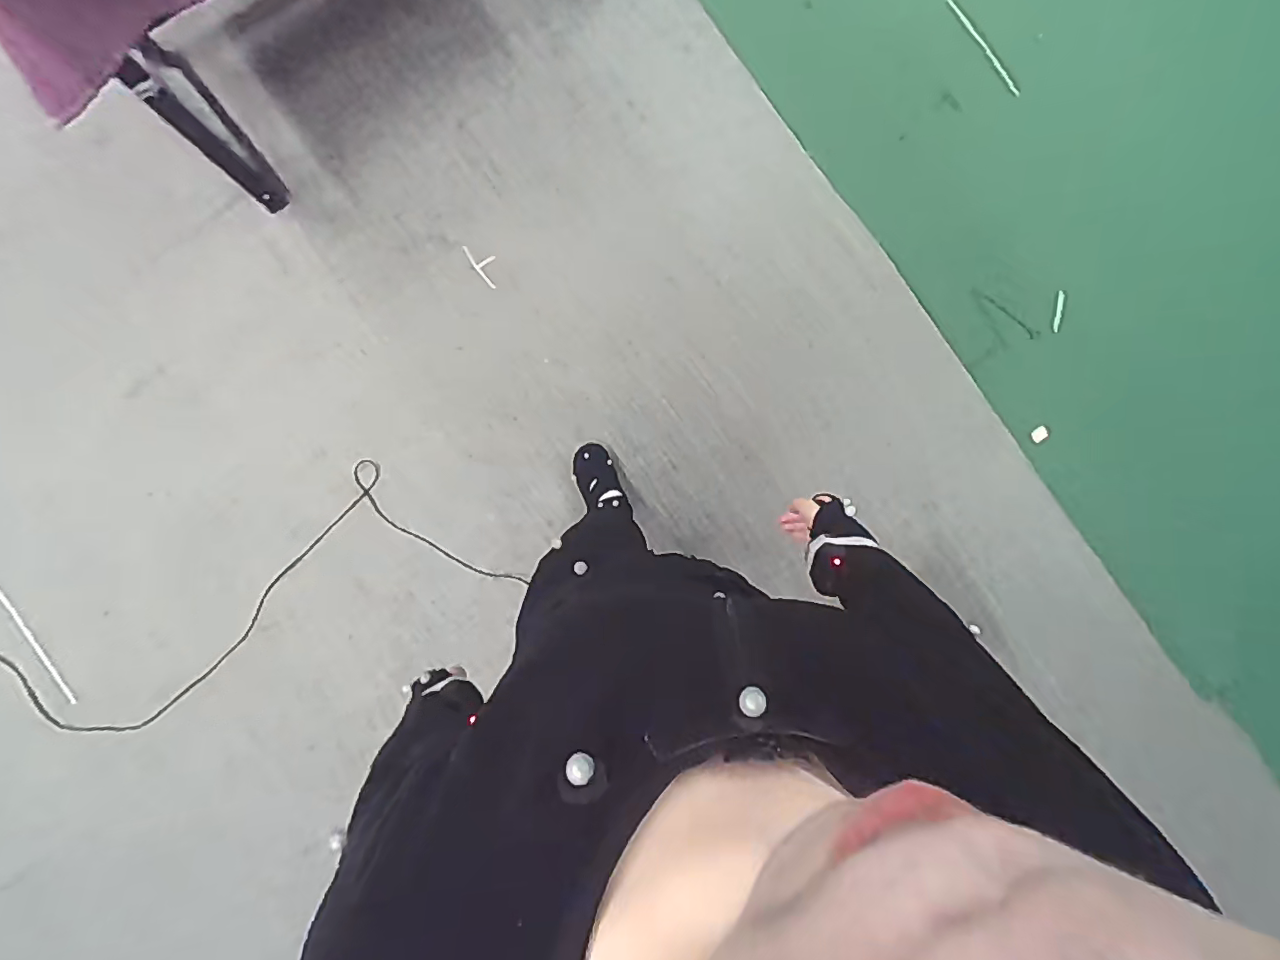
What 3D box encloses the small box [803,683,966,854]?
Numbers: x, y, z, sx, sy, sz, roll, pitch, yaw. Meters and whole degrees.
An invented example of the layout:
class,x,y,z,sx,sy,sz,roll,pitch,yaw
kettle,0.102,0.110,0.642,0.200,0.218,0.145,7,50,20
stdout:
class,x,y,z,sx,sy,sz,roll,pitch,yaw
small box,0.418,0.494,0.955,0.168,0.176,0.179,-28,89,-2
